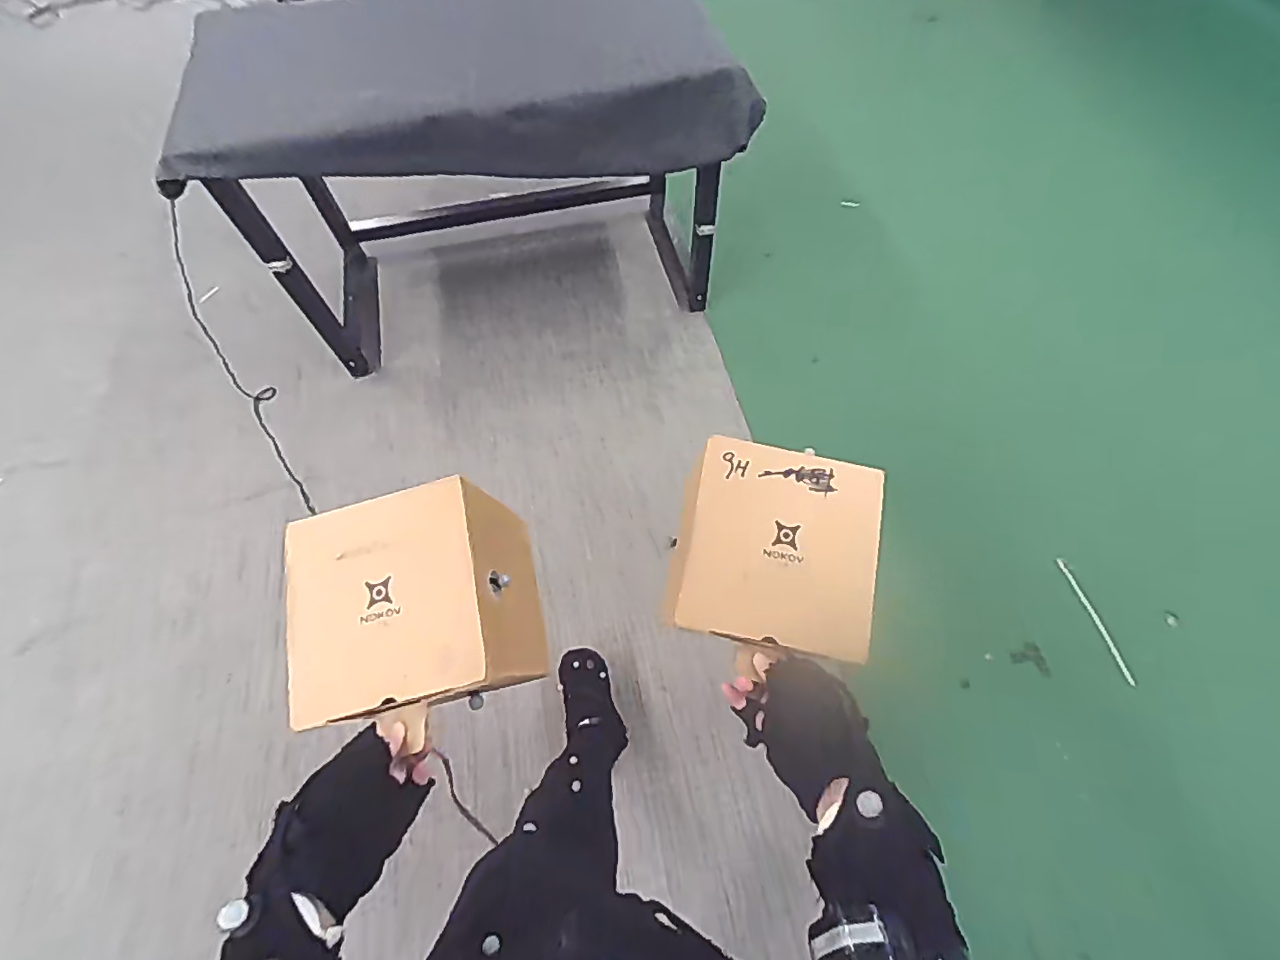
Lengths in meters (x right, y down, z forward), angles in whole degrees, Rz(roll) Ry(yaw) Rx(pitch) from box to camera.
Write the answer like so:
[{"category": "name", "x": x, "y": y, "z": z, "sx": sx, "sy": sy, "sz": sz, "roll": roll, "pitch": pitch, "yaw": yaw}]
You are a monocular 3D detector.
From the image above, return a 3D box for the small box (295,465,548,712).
[{"category": "small box", "x": -0.201, "y": 0.109, "z": 0.531, "sx": 0.168, "sy": 0.176, "sz": 0.179, "roll": -16, "pitch": 71, "yaw": 2}]
